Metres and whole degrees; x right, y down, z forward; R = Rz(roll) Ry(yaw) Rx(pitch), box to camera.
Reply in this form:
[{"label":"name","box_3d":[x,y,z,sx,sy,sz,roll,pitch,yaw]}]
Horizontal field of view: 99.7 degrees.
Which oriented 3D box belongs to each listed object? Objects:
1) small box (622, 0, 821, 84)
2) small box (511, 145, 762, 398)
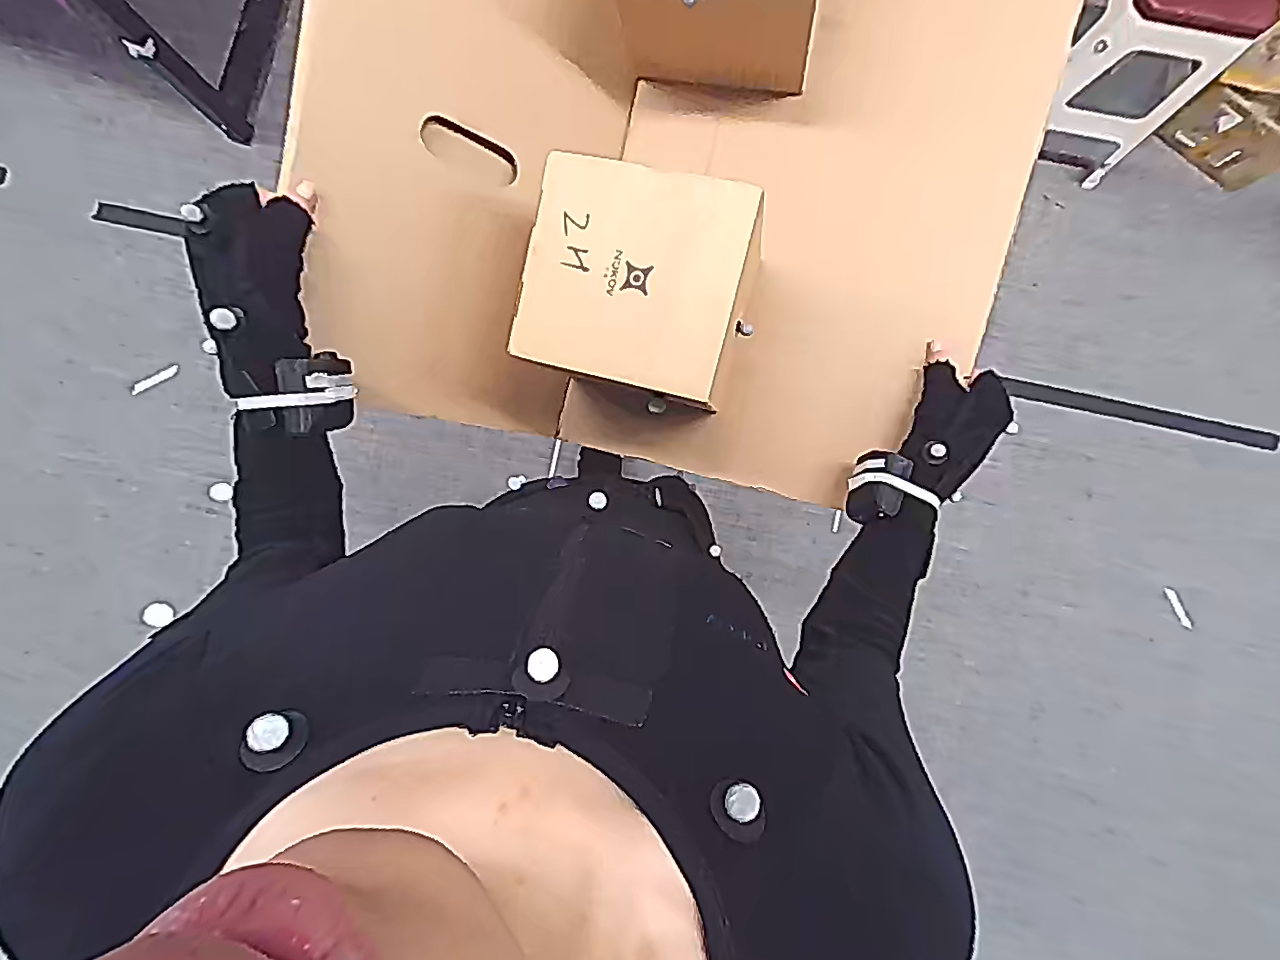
[{"label":"small box","box_3d":[0.079,-0.486,0.471,0.179,0.176,0.168,14,97,10]},{"label":"small box","box_3d":[0.008,-0.178,0.512,0.179,0.176,0.168,16,98,11]}]
